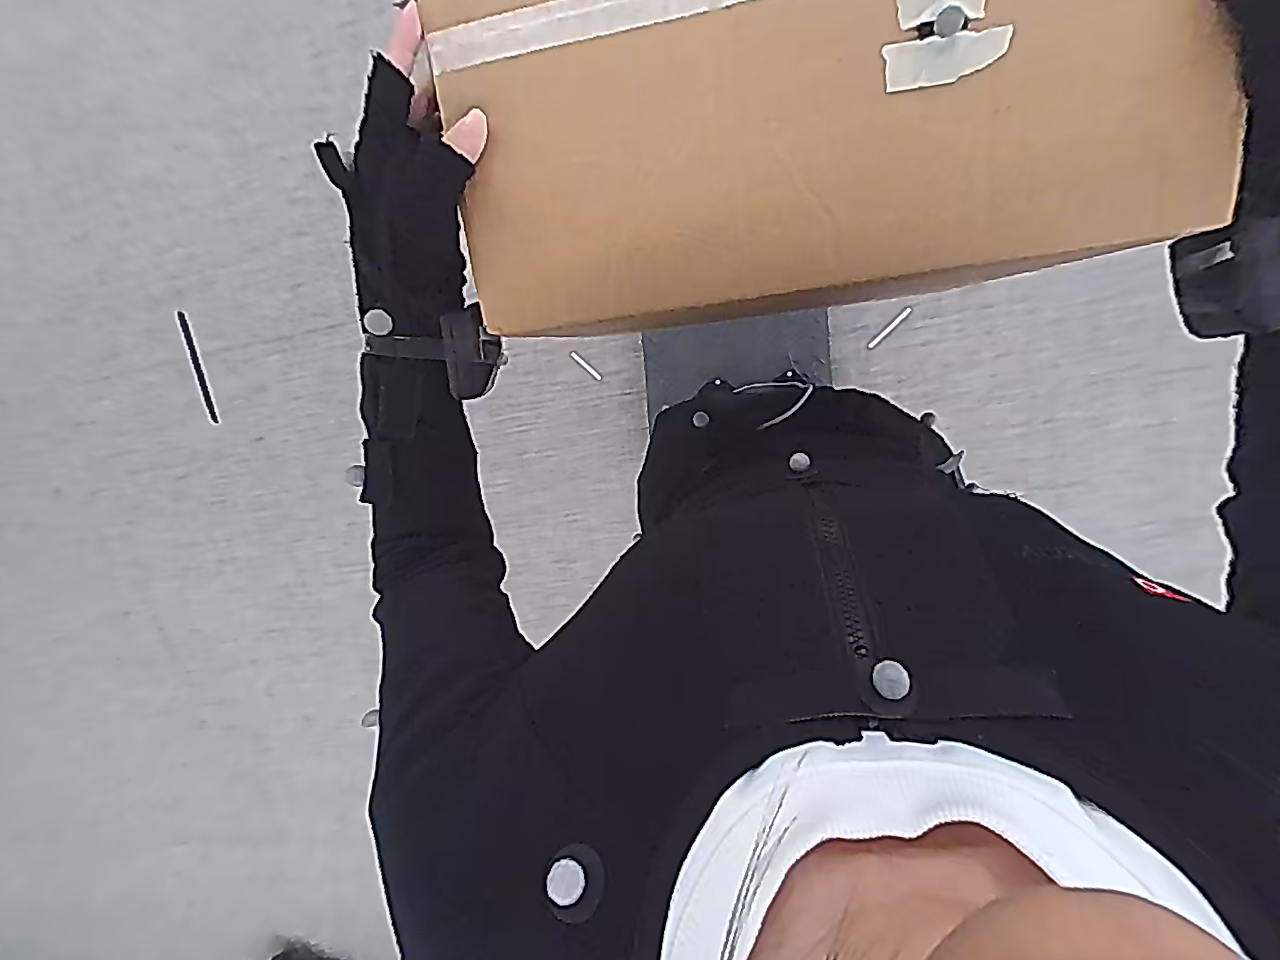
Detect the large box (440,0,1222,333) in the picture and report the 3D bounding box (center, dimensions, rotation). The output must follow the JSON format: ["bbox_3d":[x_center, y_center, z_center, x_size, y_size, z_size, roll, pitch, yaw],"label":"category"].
[{"bbox_3d":[0.101,-0.306,0.429,0.408,0.320,0.320,-6,104,9],"label":"large box"}]
